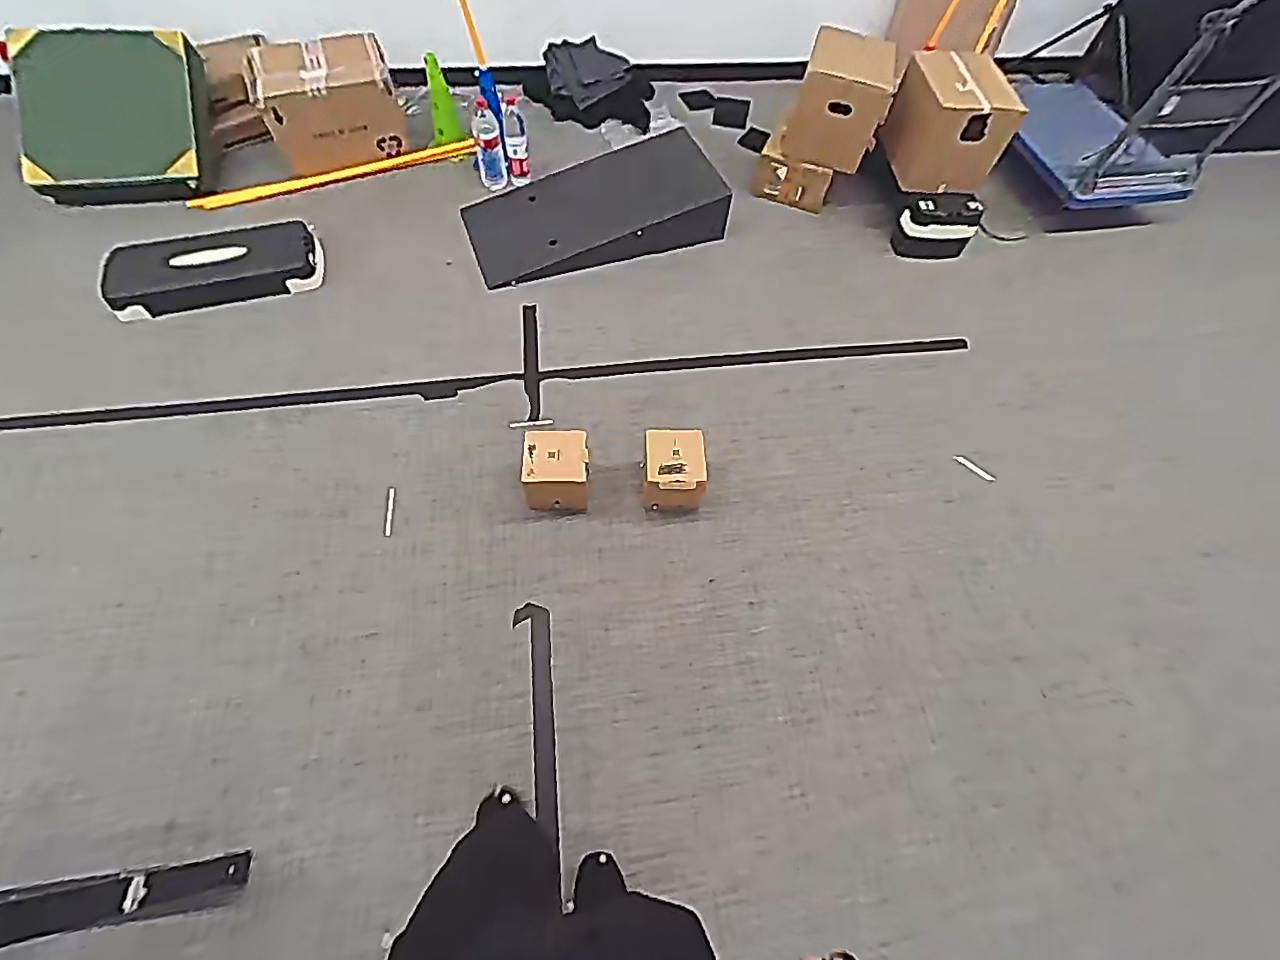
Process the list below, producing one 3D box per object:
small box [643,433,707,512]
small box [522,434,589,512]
[{"bbox_3d":[0.096,-0.018,1.575,0.168,0.176,0.179,1,59,-4],"label":"small box"},{"bbox_3d":[-0.235,-0.017,1.551,0.179,0.176,0.168,1,60,-4],"label":"small box"}]
